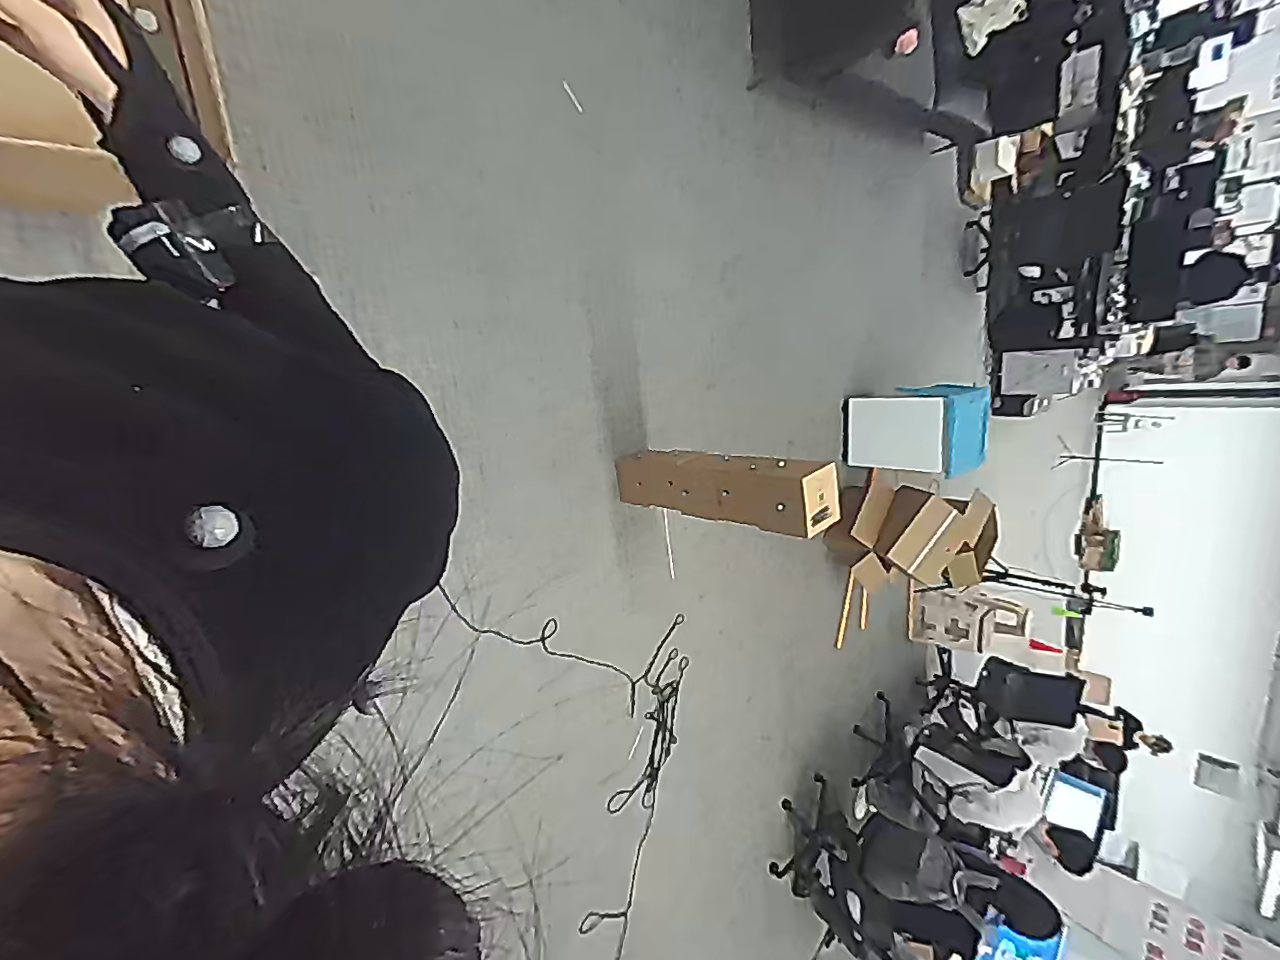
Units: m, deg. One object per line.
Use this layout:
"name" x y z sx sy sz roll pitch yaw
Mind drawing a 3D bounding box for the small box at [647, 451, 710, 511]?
"small box" 0.141 -0.004 1.913 0.168 0.176 0.179 -18 107 -39

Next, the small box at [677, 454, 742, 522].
"small box" 0.240 0.020 1.785 0.168 0.176 0.179 -21 110 -39

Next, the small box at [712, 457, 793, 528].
"small box" 0.346 0.031 1.662 0.179 0.176 0.168 -21 108 -38

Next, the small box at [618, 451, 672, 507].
"small box" 0.031 -0.010 2.036 0.168 0.176 0.179 -19 109 -39
